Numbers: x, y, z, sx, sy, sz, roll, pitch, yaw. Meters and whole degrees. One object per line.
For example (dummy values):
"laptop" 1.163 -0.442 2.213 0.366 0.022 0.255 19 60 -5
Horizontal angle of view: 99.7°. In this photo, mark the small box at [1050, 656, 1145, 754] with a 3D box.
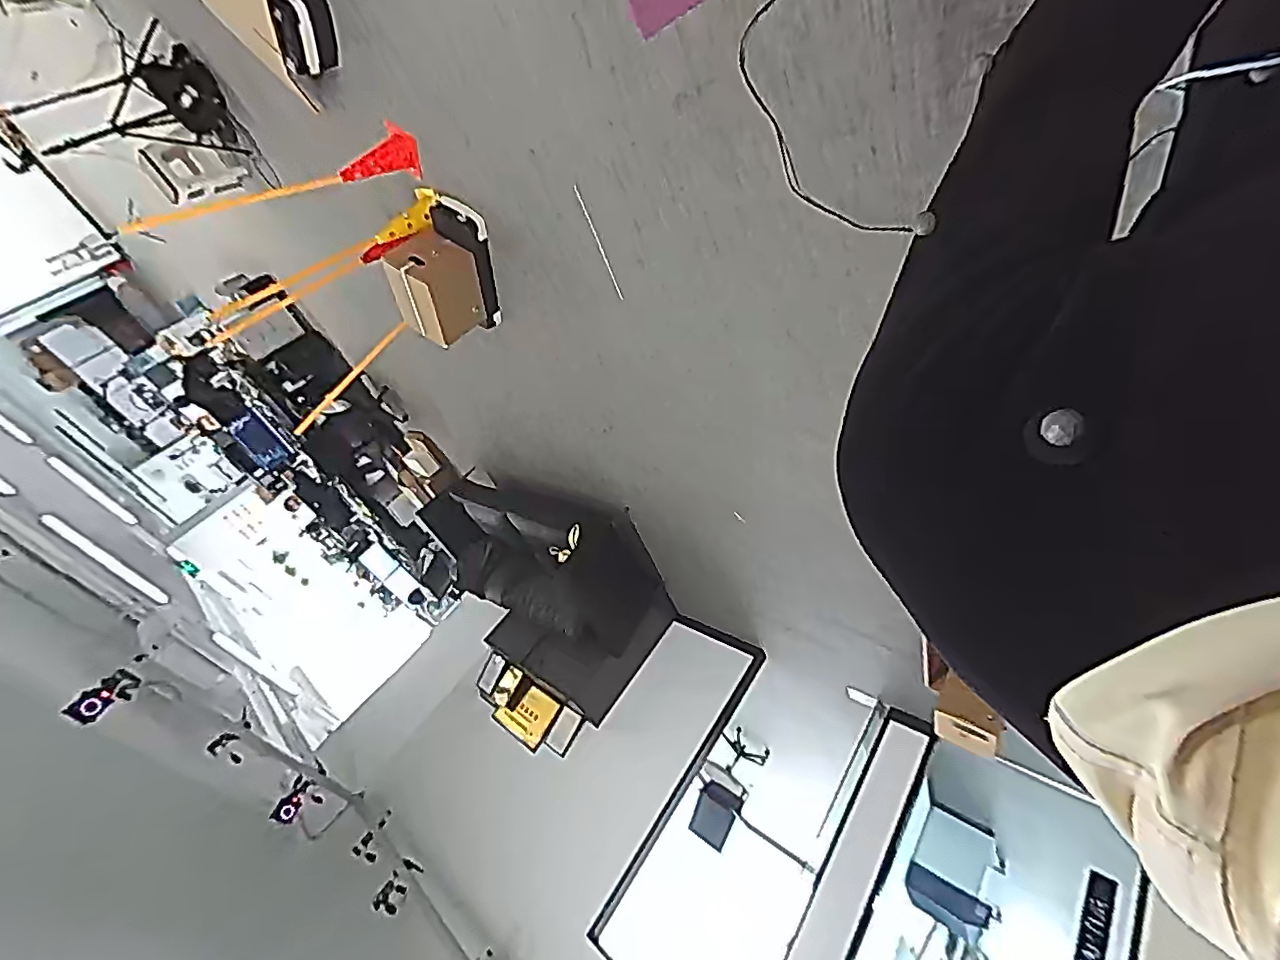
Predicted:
"small box" 1.317 0.640 1.556 0.179 0.176 0.168 16 143 43
